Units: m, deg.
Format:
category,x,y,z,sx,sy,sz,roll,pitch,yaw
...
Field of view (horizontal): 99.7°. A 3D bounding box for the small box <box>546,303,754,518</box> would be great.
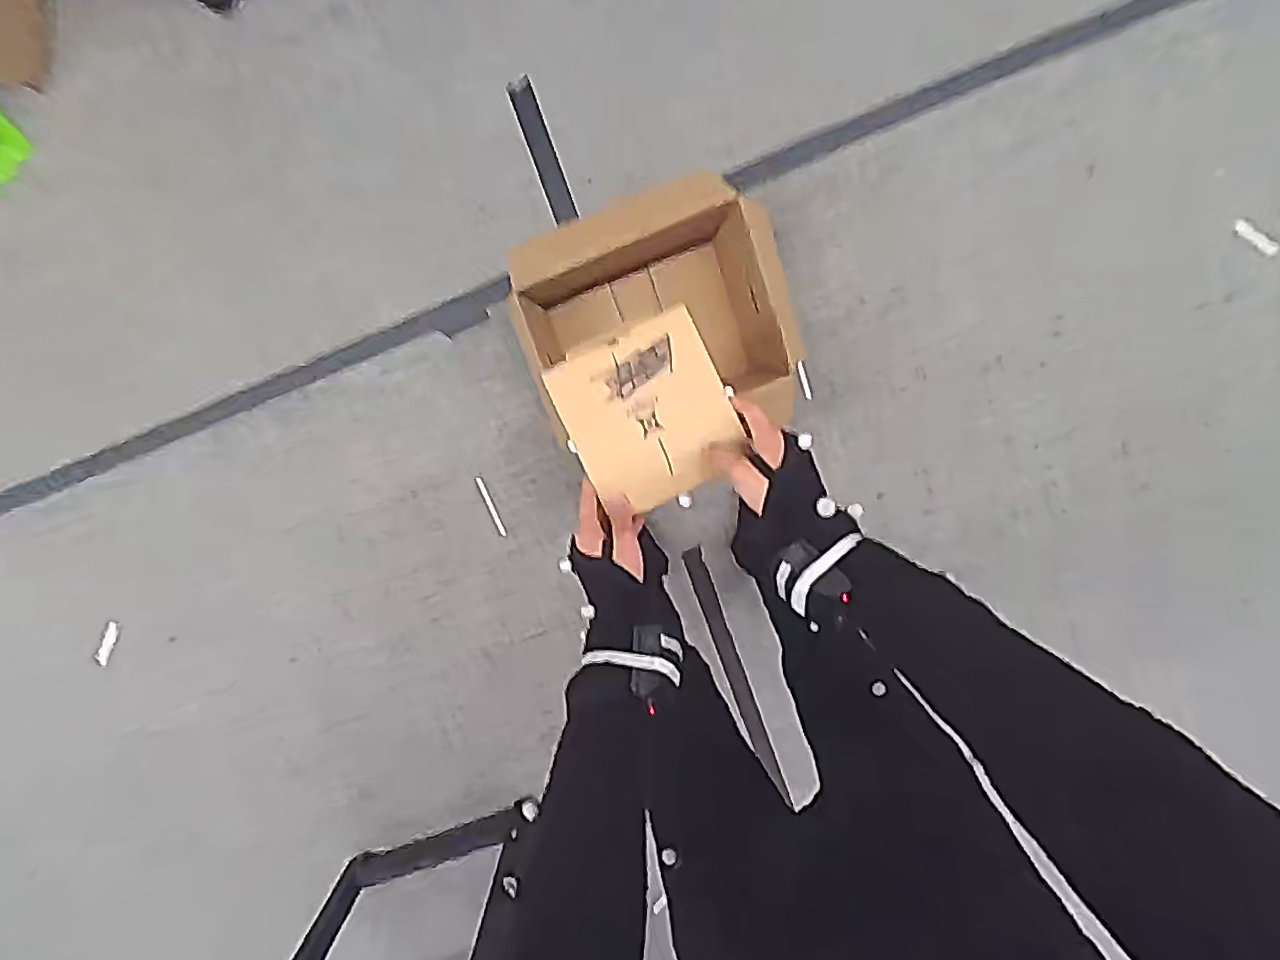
category,x,y,z,sx,sy,sz,roll,pitch,yaw
small box,0.015,-0.070,0.632,0.168,0.176,0.179,-25,89,6
